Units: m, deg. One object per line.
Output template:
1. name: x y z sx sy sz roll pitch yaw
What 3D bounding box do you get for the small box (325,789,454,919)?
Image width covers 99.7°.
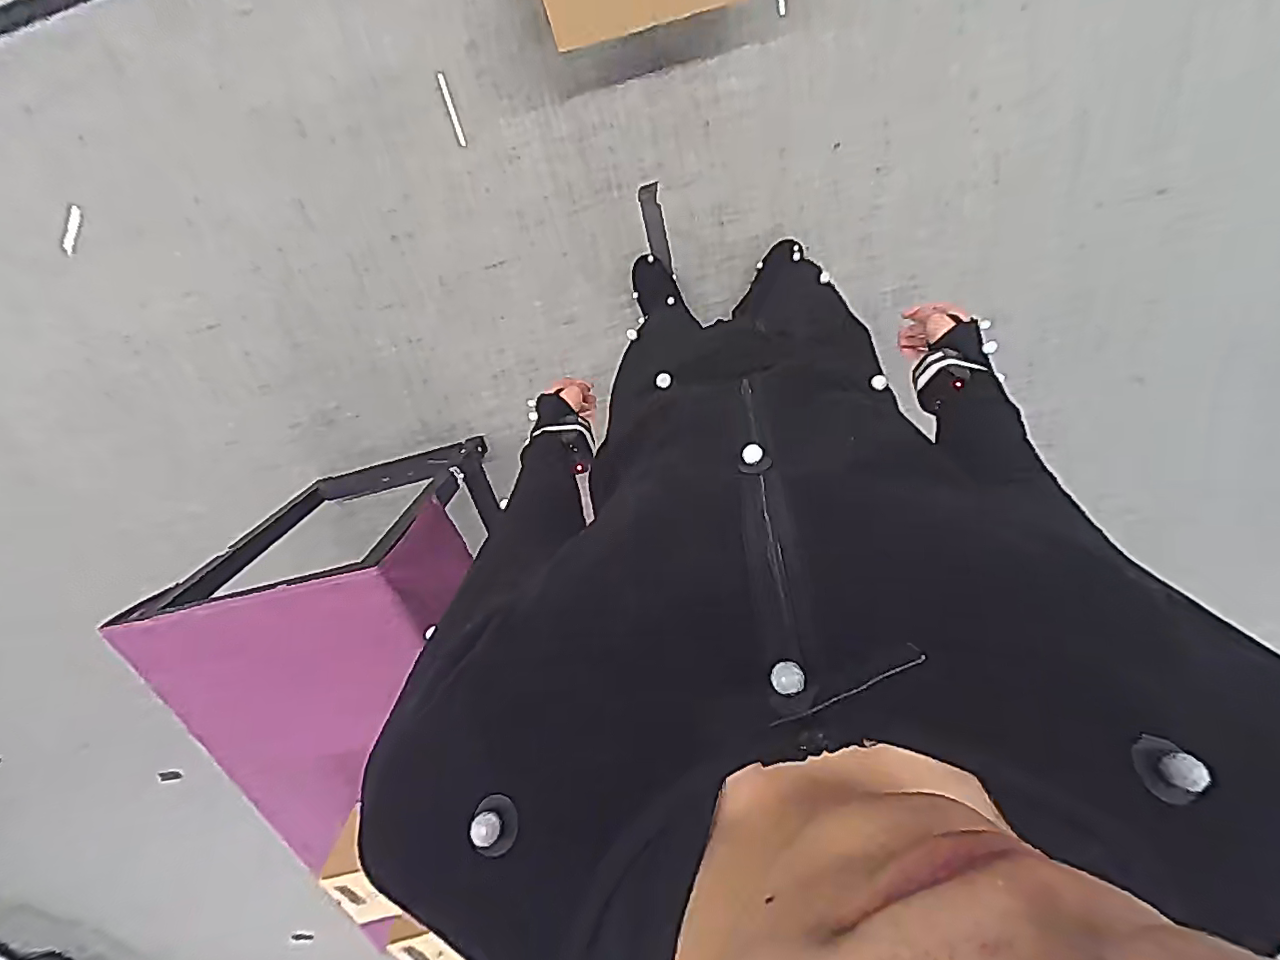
1. small box: -0.553 0.838 1.220 0.179 0.176 0.168 -17 114 8
